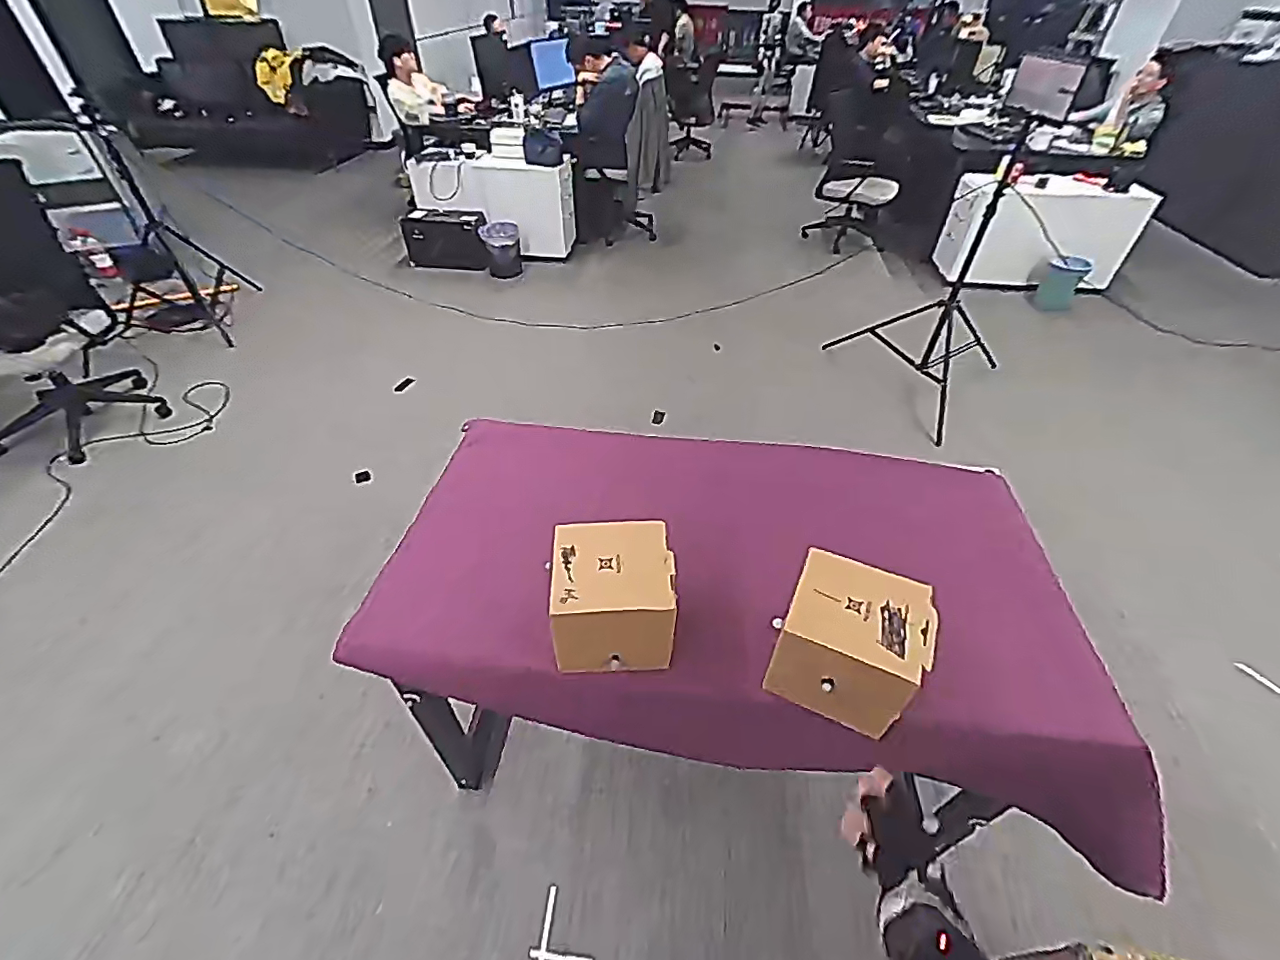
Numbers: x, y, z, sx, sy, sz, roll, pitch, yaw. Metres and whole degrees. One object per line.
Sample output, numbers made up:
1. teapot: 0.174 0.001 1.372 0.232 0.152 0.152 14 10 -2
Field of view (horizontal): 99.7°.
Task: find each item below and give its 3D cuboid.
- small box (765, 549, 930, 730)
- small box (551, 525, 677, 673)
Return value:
1. small box: 0.301 0.239 0.801 0.179 0.176 0.168 19 45 20
2. small box: -0.042 0.188 0.851 0.179 0.176 0.168 -1 42 -3
